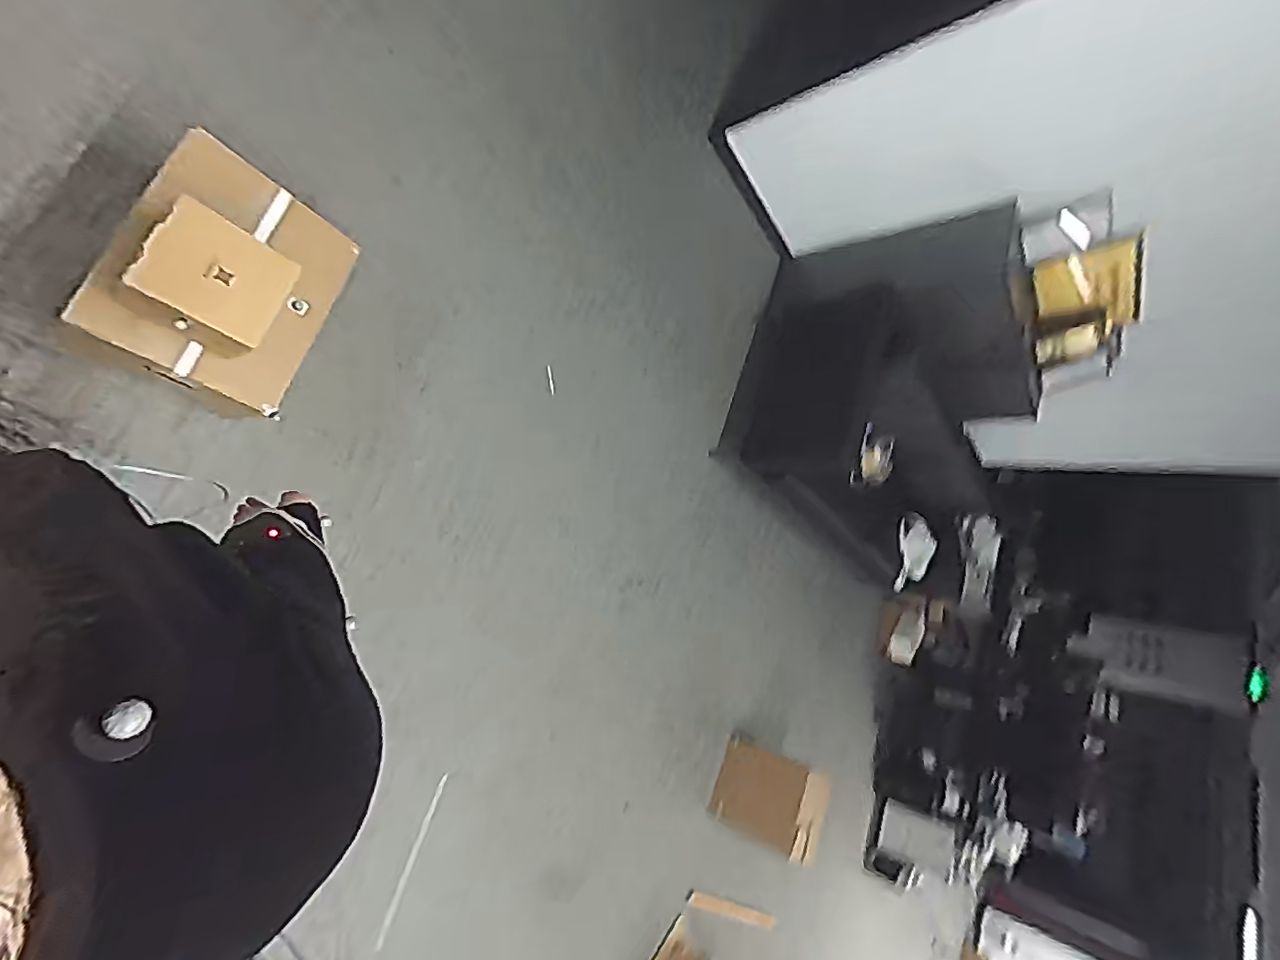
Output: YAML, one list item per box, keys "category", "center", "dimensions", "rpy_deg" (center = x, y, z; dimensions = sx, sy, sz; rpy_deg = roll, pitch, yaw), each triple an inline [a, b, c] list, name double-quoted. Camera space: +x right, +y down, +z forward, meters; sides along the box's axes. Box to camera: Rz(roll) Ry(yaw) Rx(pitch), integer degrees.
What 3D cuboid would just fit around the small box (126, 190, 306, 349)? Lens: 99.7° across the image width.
- category: "small box"
  center: [-0.705, -0.333, 0.900]
  dimensions: [0.179, 0.176, 0.168]
  rpy_deg: [33, 70, -41]
